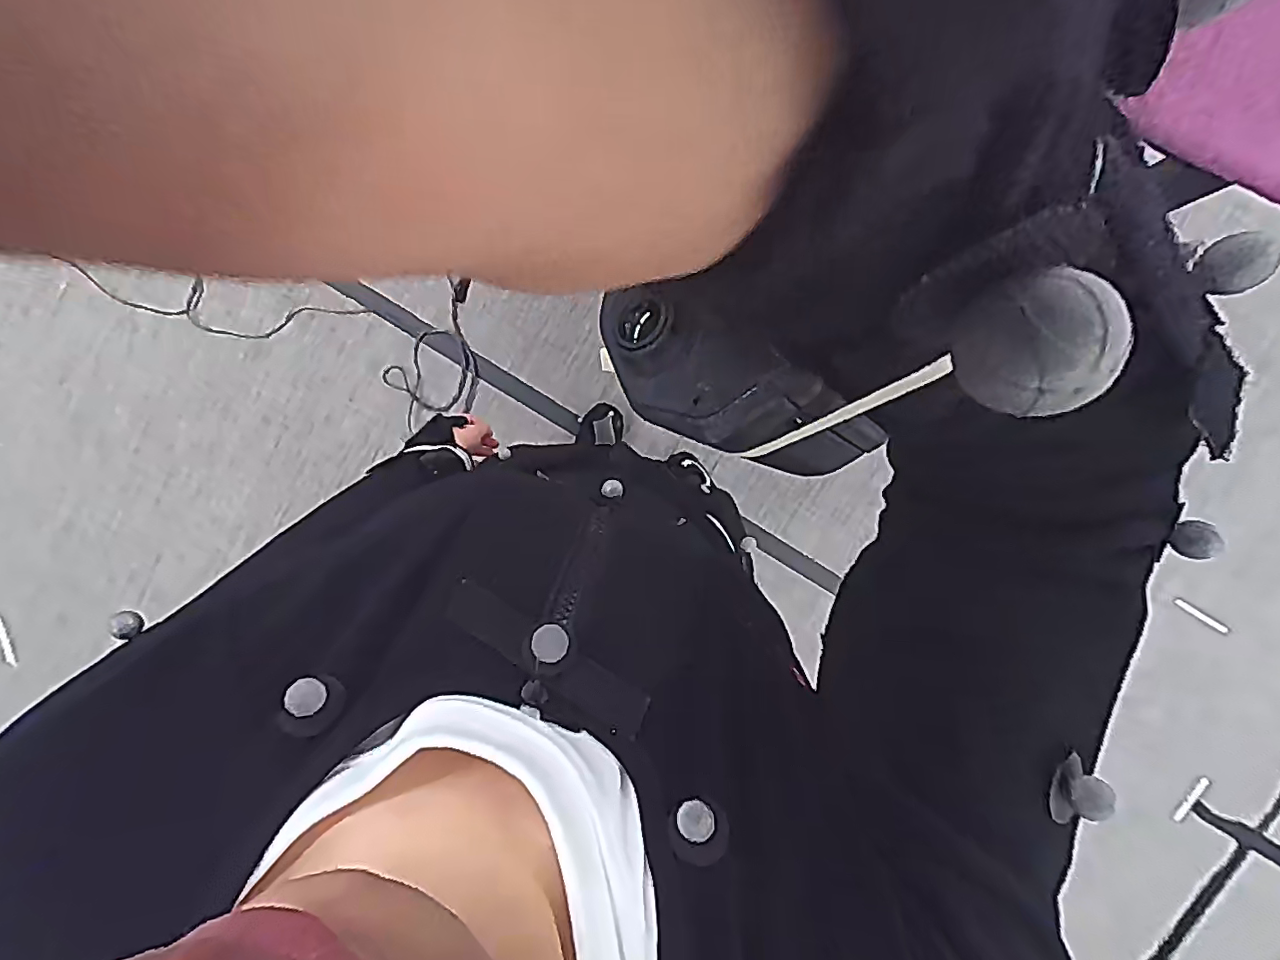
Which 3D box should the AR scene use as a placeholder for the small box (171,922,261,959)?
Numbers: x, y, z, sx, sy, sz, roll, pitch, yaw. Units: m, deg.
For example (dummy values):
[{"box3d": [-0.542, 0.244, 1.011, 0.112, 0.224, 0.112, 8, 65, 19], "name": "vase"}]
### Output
[{"box3d": [-1.019, 1.177, 1.230, 0.168, 0.176, 0.179, 33, 94, -2], "name": "small box"}]
